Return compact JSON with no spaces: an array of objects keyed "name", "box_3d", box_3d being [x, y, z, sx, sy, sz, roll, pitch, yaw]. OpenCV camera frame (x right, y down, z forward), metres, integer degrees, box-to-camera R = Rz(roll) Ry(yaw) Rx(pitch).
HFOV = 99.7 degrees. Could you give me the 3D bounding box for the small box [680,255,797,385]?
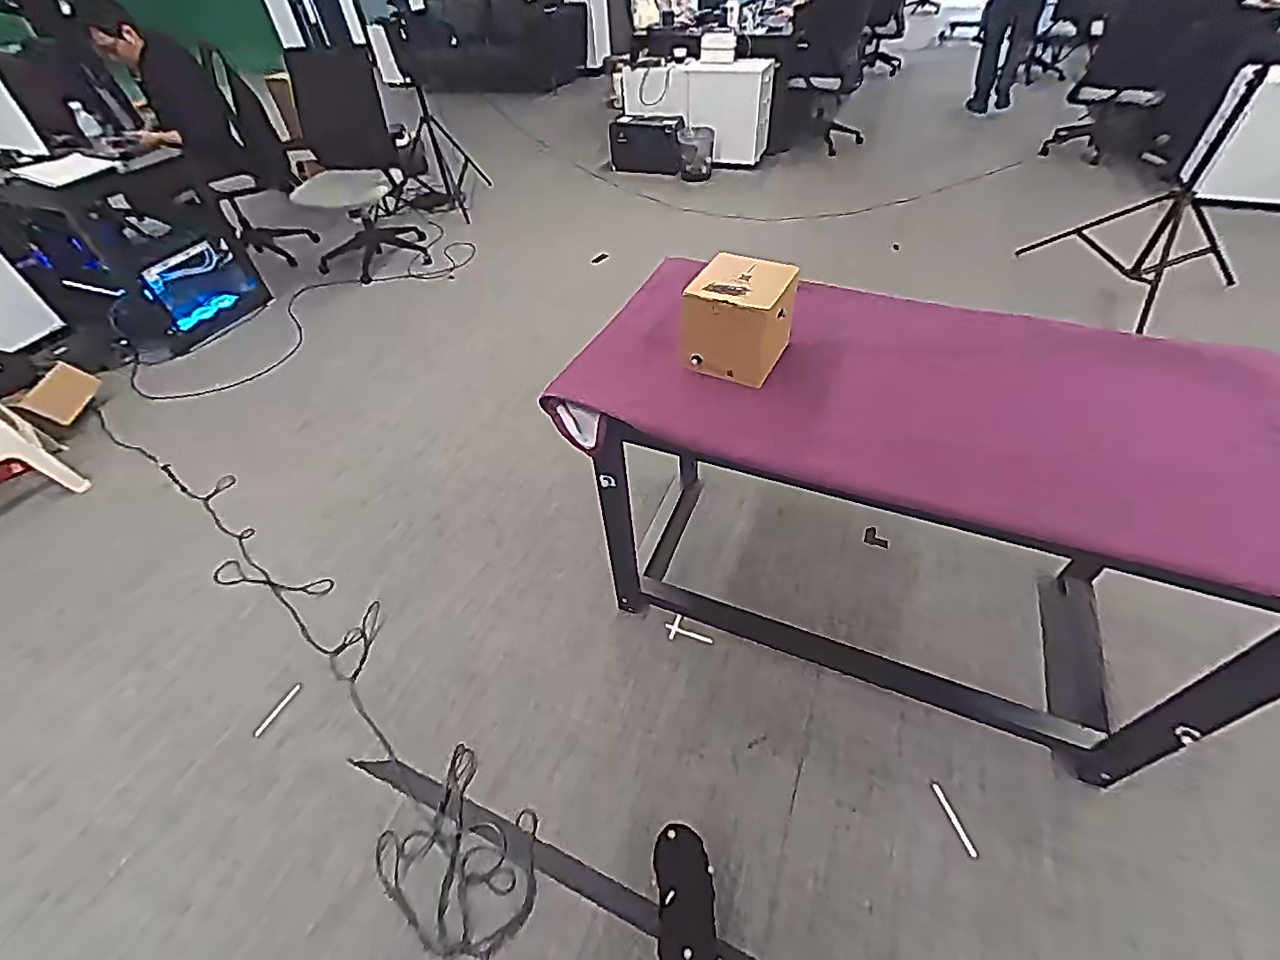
[{"name":"small box","box_3d":[0.190,-0.311,1.057,0.168,0.176,0.179,20,51,21]}]
